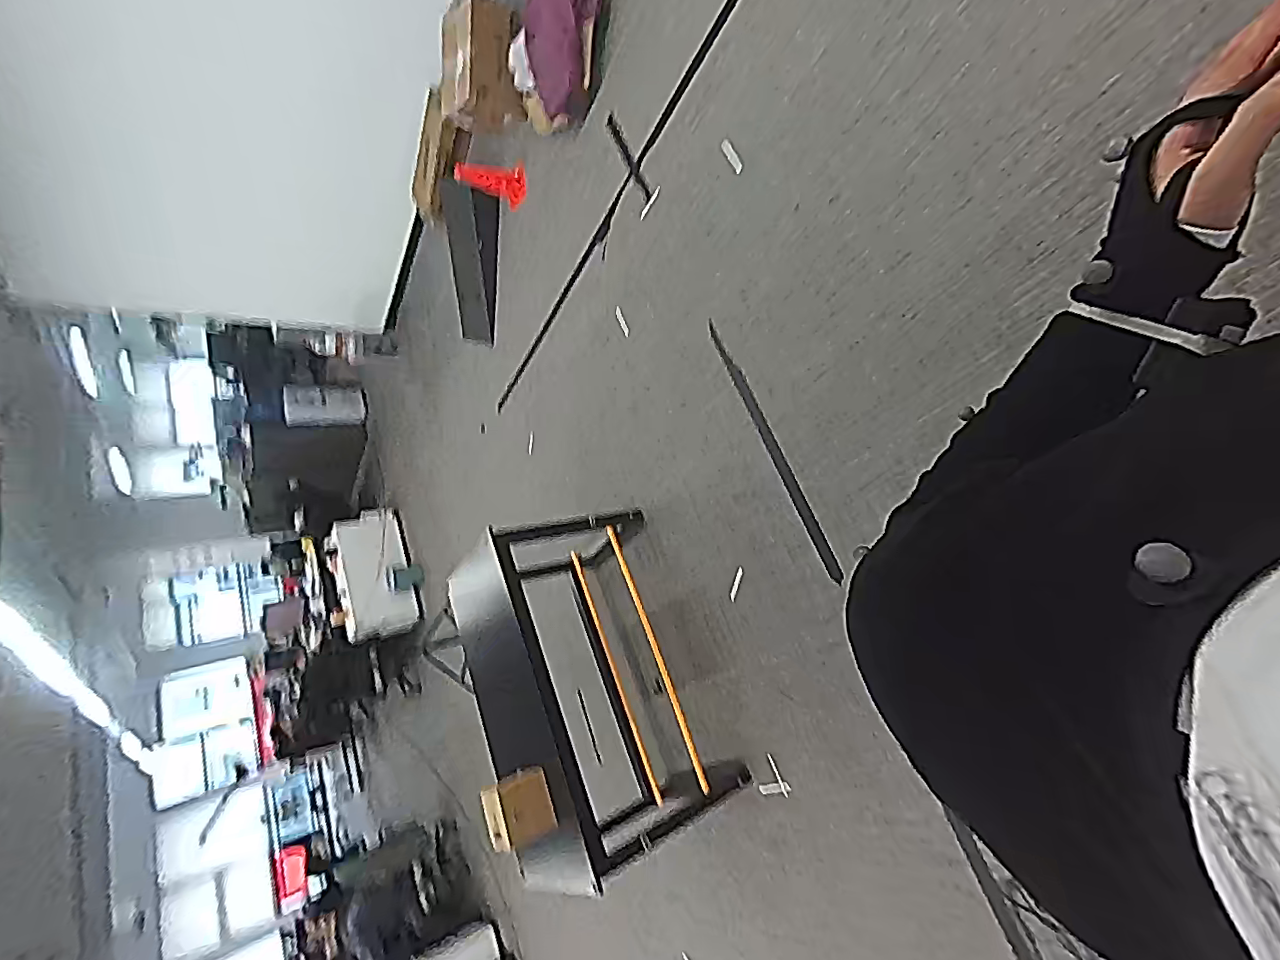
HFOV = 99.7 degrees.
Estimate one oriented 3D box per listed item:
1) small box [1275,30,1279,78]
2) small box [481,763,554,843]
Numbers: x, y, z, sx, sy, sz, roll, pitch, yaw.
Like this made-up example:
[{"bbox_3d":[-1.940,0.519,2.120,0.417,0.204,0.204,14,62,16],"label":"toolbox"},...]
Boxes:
[{"bbox_3d":[0.433,-0.302,0.250,0.168,0.176,0.179,10,113,49],"label":"small box"},{"bbox_3d":[-0.405,1.071,1.797,0.168,0.176,0.179,-41,62,45],"label":"small box"}]
